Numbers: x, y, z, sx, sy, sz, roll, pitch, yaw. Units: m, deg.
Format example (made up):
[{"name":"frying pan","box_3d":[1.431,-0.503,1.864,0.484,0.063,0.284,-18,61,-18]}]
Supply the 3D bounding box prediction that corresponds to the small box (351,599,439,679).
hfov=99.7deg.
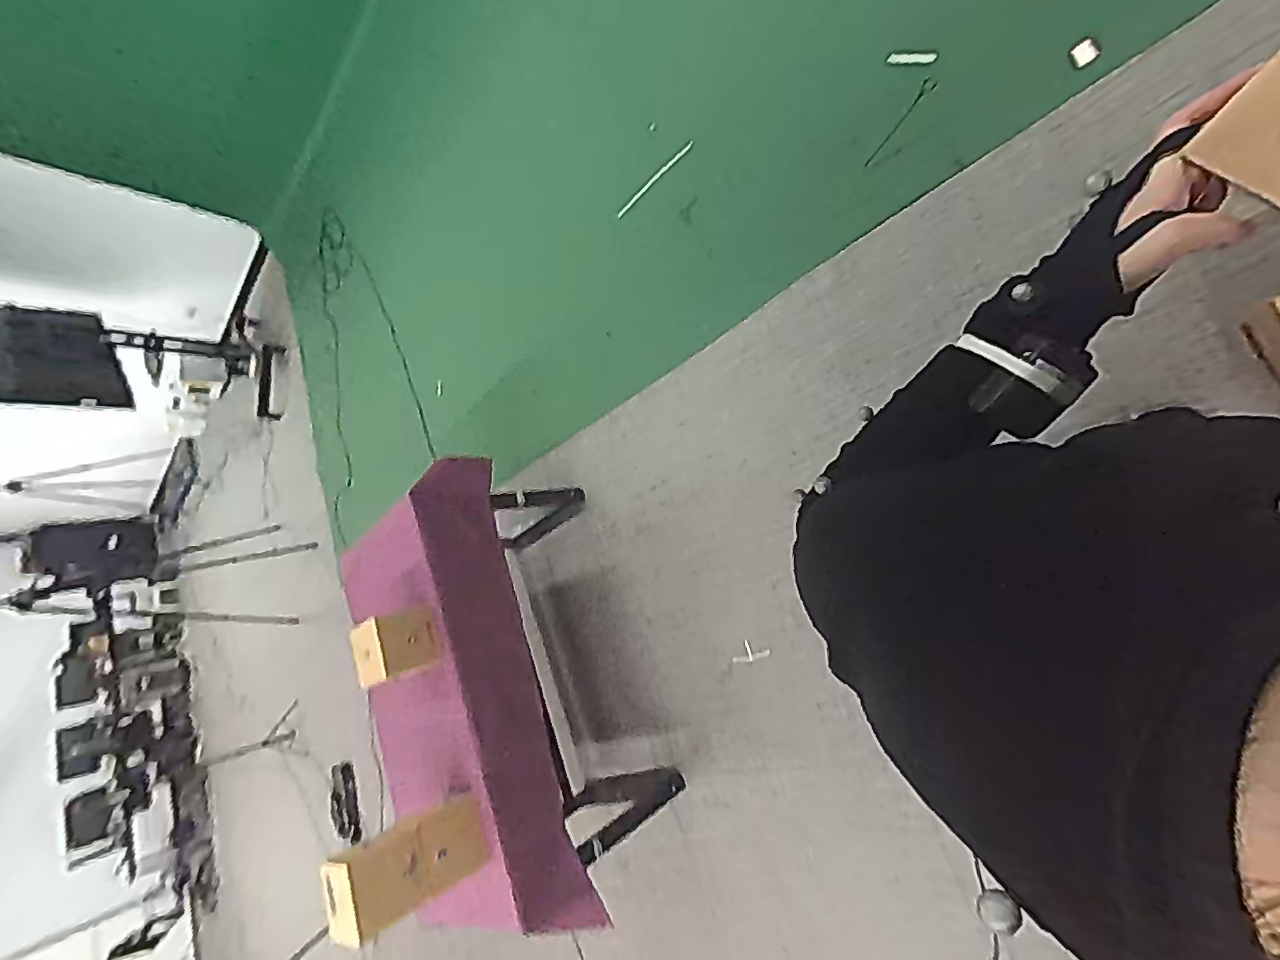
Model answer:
[{"name":"small box","box_3d":[-0.697,0.453,1.553,0.179,0.176,0.168,-29,73,37]}]

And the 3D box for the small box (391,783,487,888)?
[{"name":"small box","box_3d":[-0.530,0.934,1.432,0.168,0.176,0.179,-30,72,37]}]
